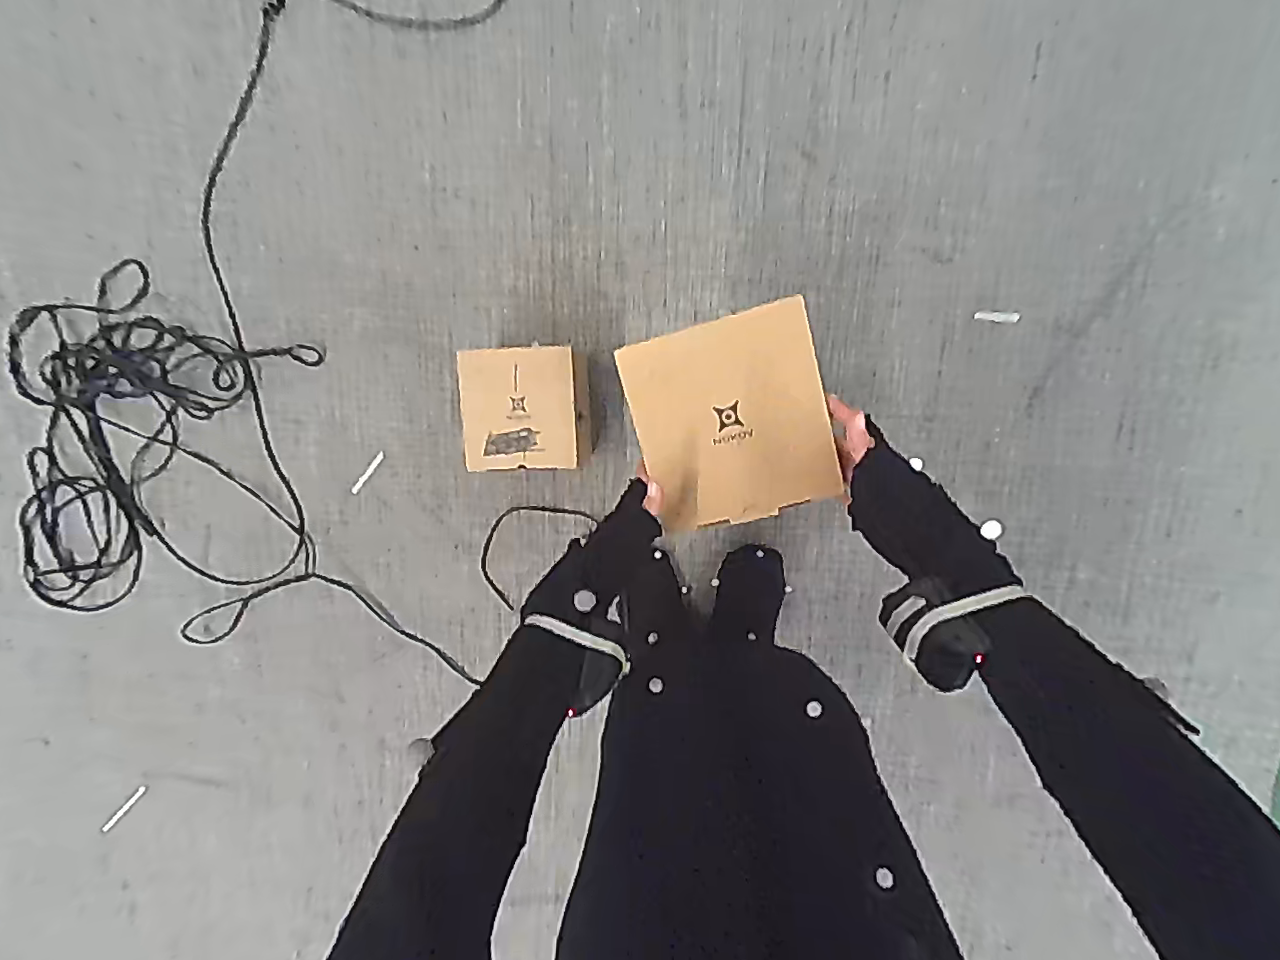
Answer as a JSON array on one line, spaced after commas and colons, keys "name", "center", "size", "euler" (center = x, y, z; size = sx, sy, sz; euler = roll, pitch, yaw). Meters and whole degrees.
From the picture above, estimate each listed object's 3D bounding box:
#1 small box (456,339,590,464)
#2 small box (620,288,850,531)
[{"name": "small box", "center": [-0.171, -0.124, 0.842], "size": [0.168, 0.176, 0.179], "euler": [-1, 100, 2]}, {"name": "small box", "center": [0.088, -0.069, 0.532], "size": [0.168, 0.176, 0.179], "euler": [-13, 101, 9]}]
